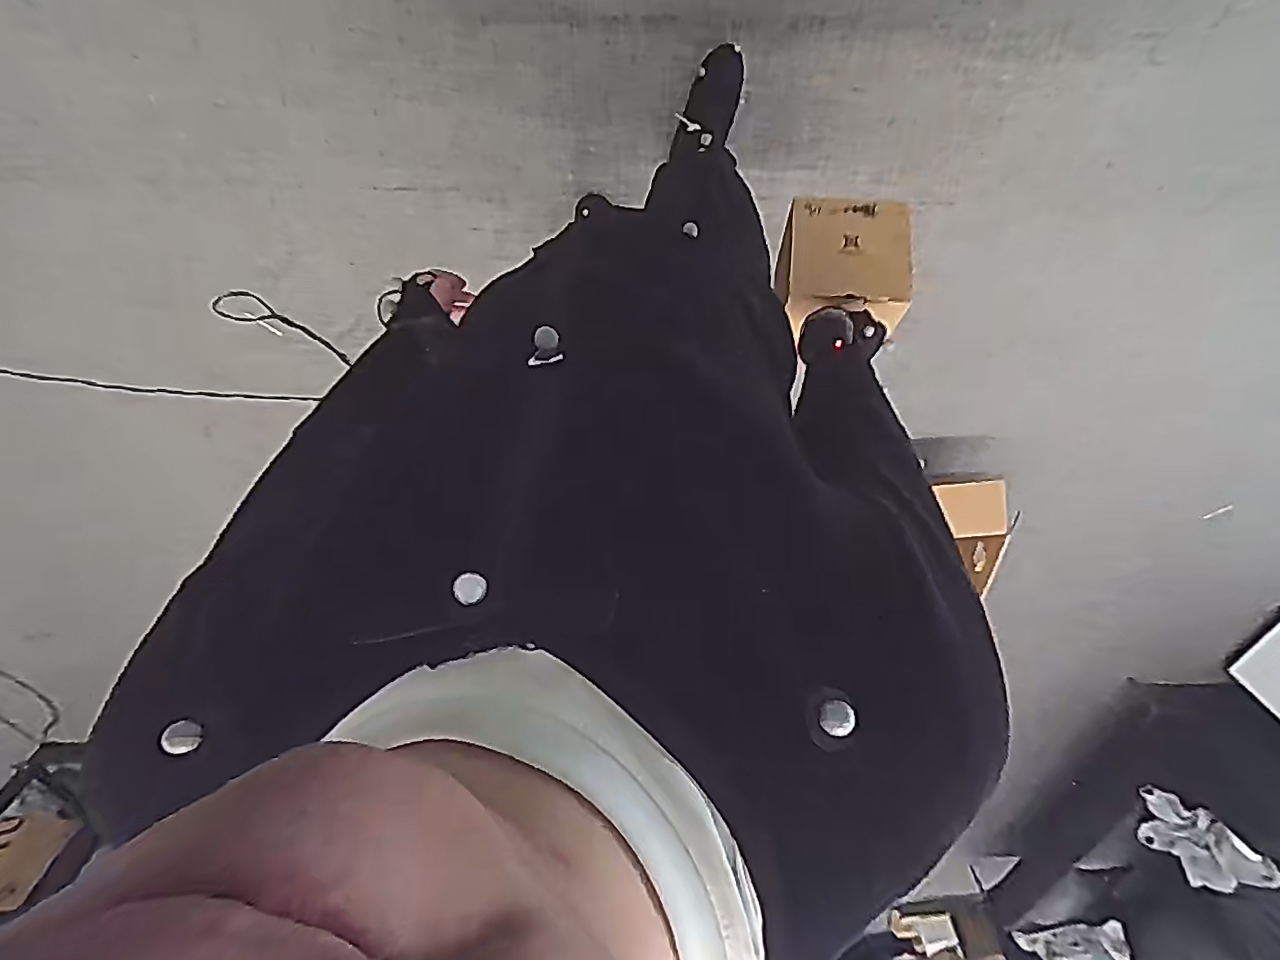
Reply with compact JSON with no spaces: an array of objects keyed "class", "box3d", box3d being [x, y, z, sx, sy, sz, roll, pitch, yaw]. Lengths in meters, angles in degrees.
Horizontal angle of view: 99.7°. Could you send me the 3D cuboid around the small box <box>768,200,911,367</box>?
[{"class":"small box","box3d":[0.300,-0.295,0.838,0.168,0.179,0.176,8,161,4]}]
